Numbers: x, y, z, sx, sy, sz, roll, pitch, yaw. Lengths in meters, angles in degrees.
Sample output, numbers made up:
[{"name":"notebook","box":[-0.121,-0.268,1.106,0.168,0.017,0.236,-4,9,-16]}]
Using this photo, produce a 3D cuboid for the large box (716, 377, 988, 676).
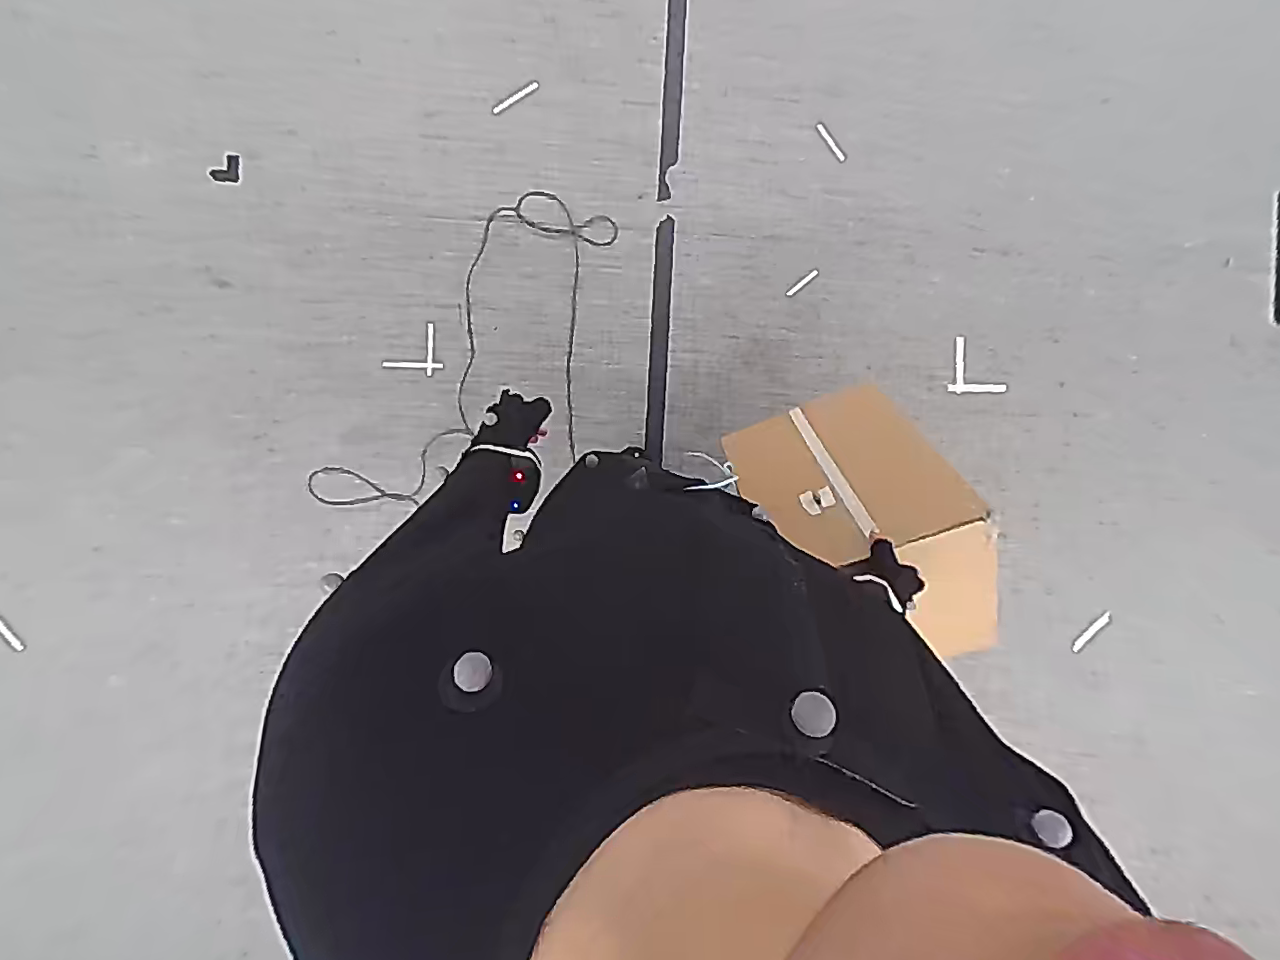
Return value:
[{"name":"large box","box":[0.371,0.076,1.007,0.320,0.408,0.320,-22,127,10]}]
